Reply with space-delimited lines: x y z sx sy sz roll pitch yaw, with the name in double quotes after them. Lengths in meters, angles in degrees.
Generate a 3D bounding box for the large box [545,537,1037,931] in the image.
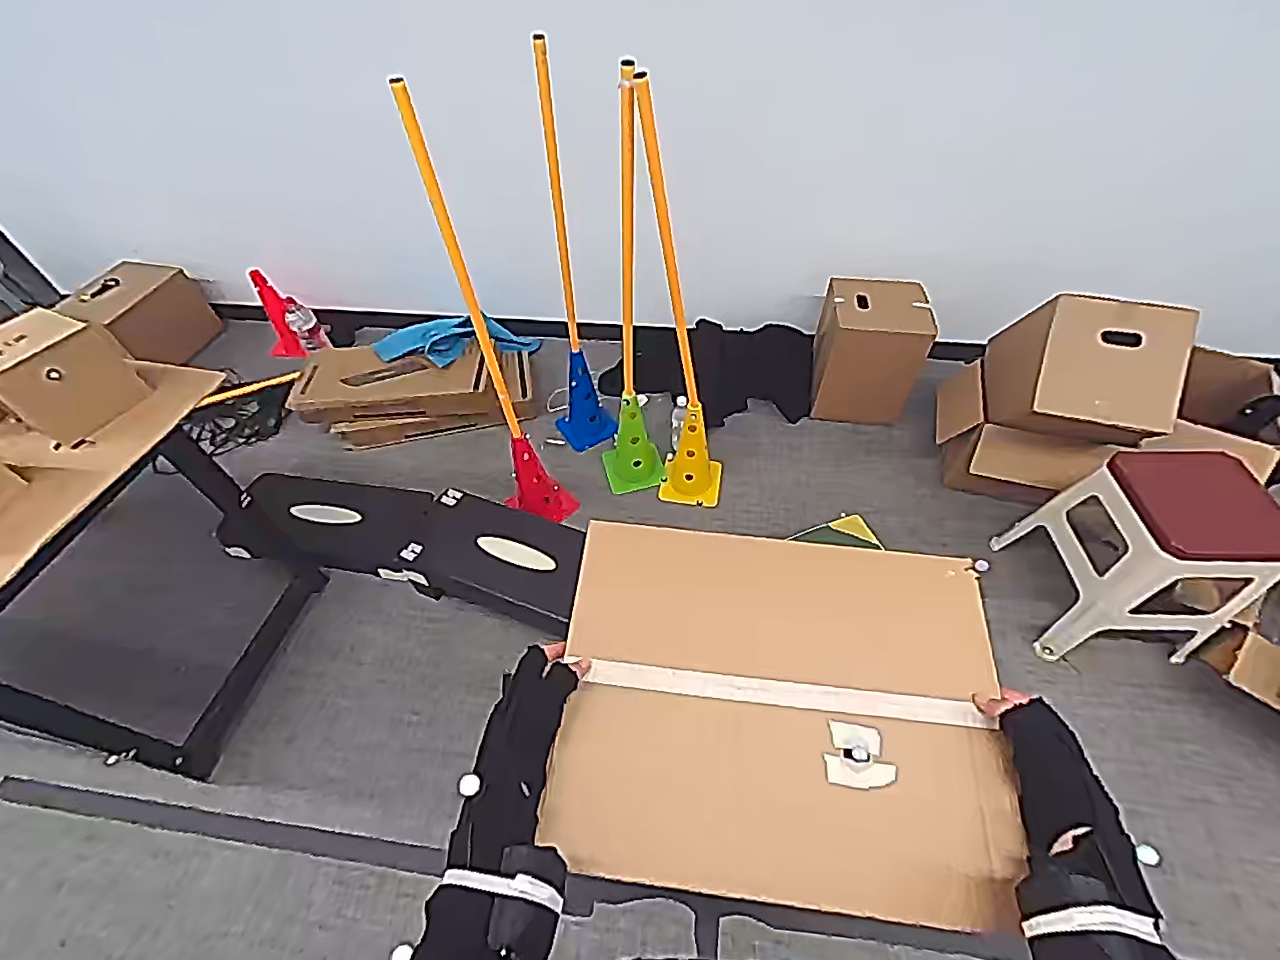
0.131 0.285 0.637 0.408 0.320 0.320 5 60 4 "large box"
